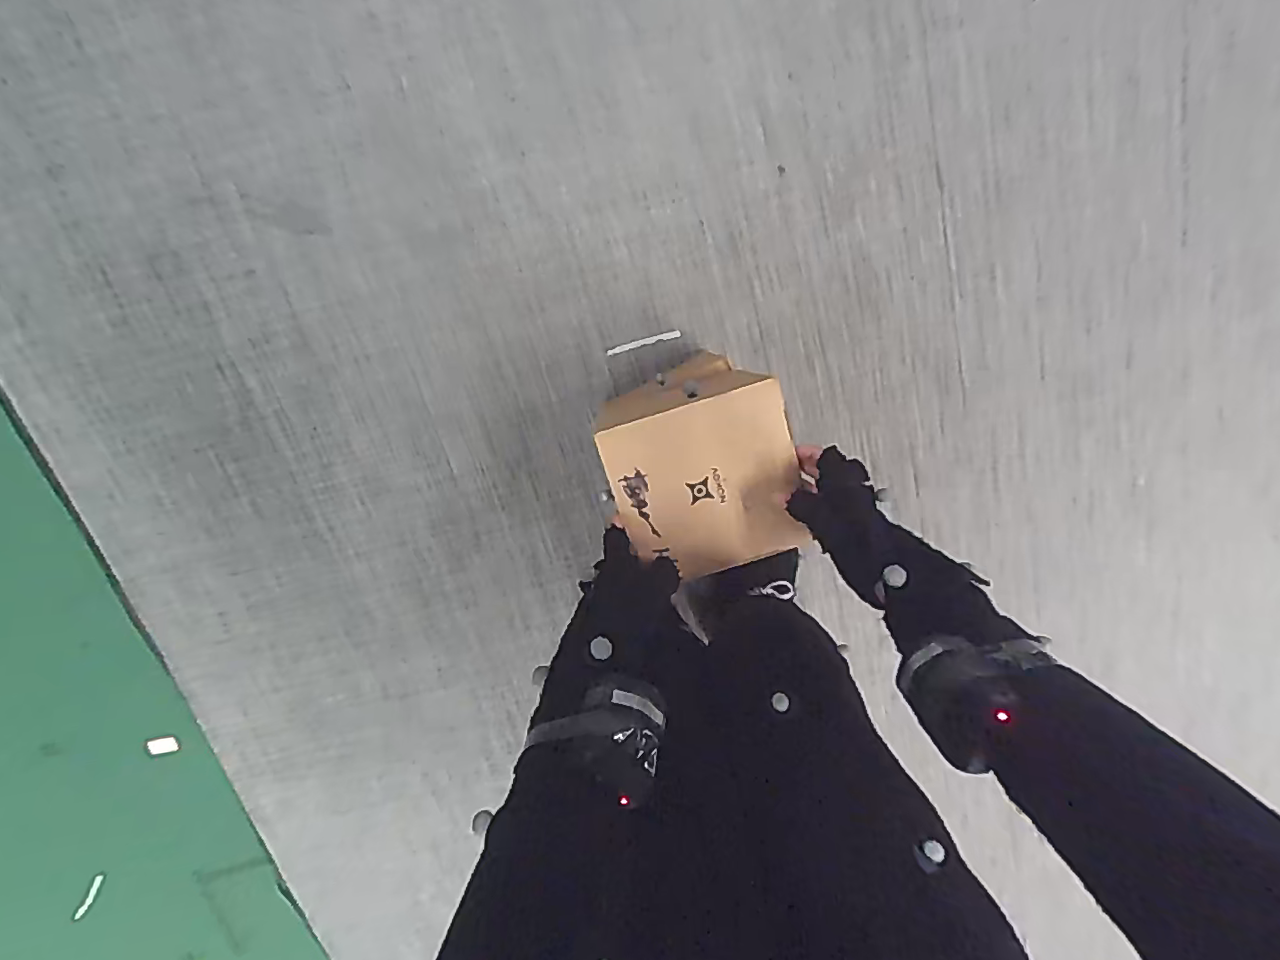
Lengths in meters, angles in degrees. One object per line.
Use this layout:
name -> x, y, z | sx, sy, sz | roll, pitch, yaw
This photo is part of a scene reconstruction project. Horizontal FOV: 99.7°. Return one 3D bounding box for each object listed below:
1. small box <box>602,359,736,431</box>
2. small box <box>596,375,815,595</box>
small box -> 0.062, -0.056, 0.742 | 0.179, 0.176, 0.168 | -27, 103, 6
small box -> 0.061, -0.007, 0.586 | 0.179, 0.176, 0.168 | -19, 104, 3
